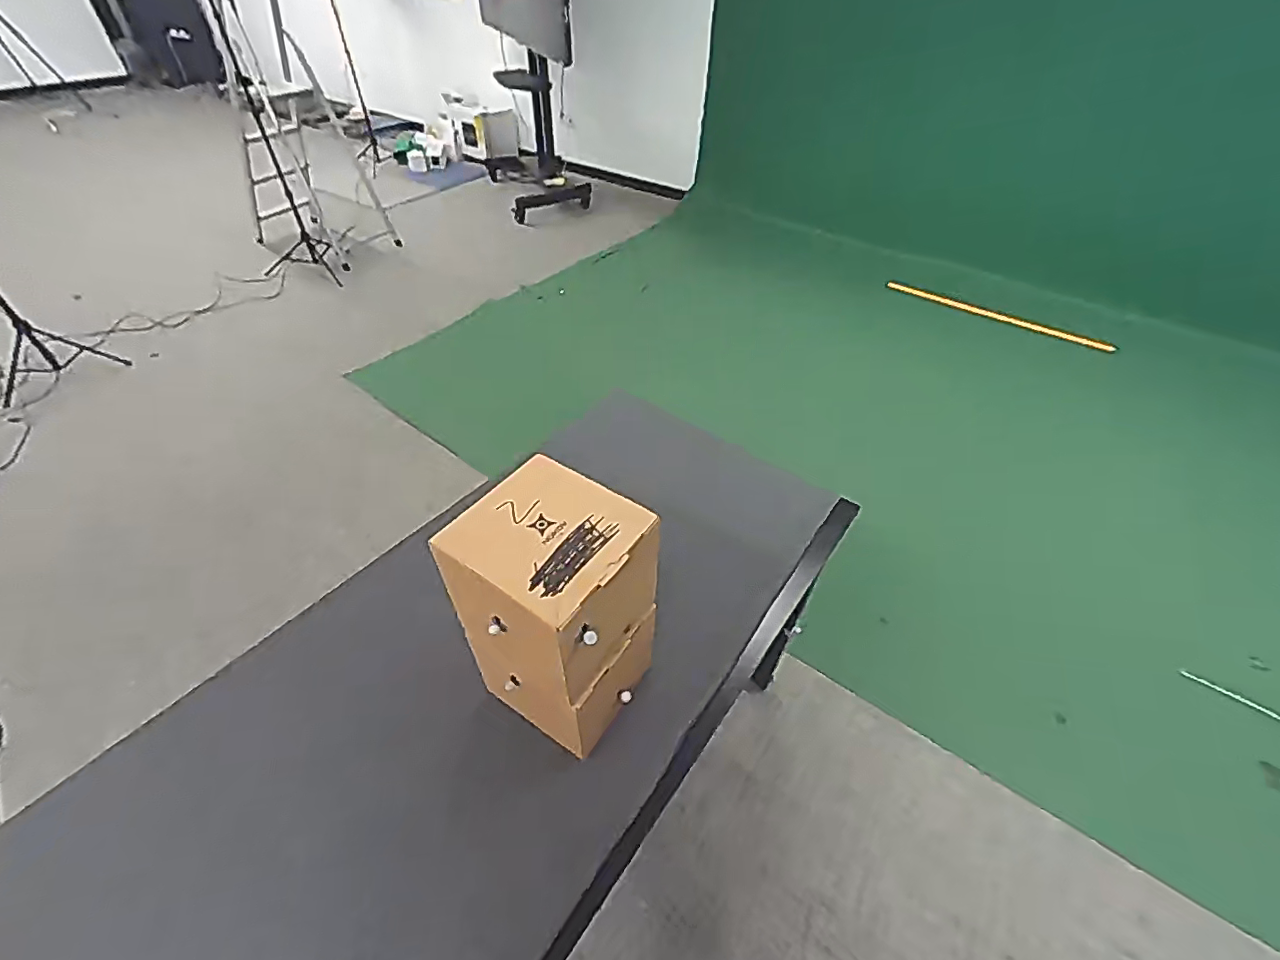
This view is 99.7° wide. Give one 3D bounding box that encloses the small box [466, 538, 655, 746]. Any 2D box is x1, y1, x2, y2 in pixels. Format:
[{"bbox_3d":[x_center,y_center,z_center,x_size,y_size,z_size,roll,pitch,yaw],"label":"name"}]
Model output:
[{"bbox_3d":[-0.098,0.216,0.719,0.179,0.176,0.168,25,50,22],"label":"small box"}]
